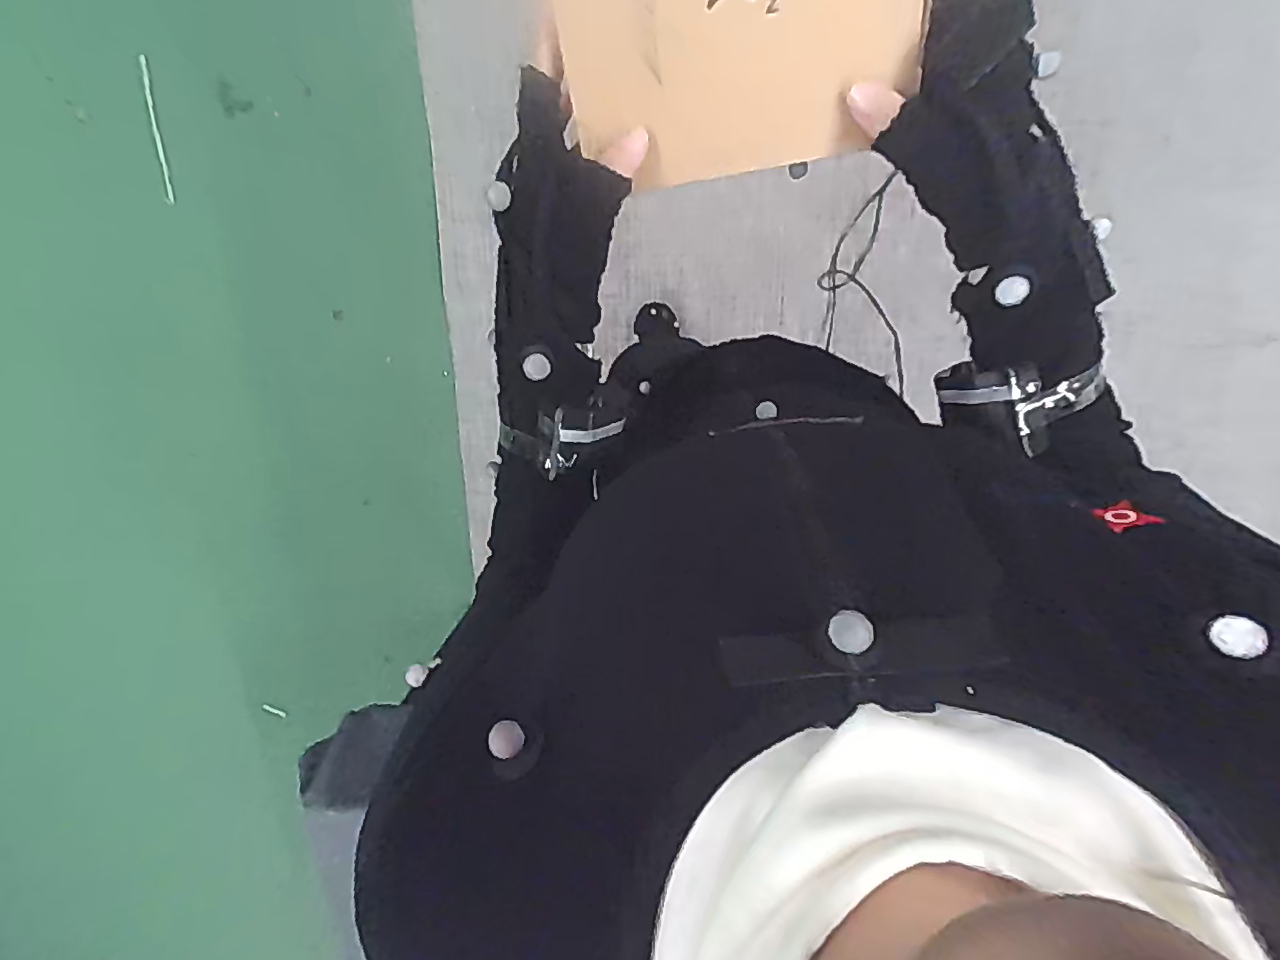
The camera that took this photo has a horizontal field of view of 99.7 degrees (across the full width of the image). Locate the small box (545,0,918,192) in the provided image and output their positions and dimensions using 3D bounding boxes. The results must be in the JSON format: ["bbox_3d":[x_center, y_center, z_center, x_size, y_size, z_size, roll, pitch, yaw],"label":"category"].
[{"bbox_3d":[0.041,-0.282,0.315,0.179,0.176,0.168,-8,122,7],"label":"small box"}]
